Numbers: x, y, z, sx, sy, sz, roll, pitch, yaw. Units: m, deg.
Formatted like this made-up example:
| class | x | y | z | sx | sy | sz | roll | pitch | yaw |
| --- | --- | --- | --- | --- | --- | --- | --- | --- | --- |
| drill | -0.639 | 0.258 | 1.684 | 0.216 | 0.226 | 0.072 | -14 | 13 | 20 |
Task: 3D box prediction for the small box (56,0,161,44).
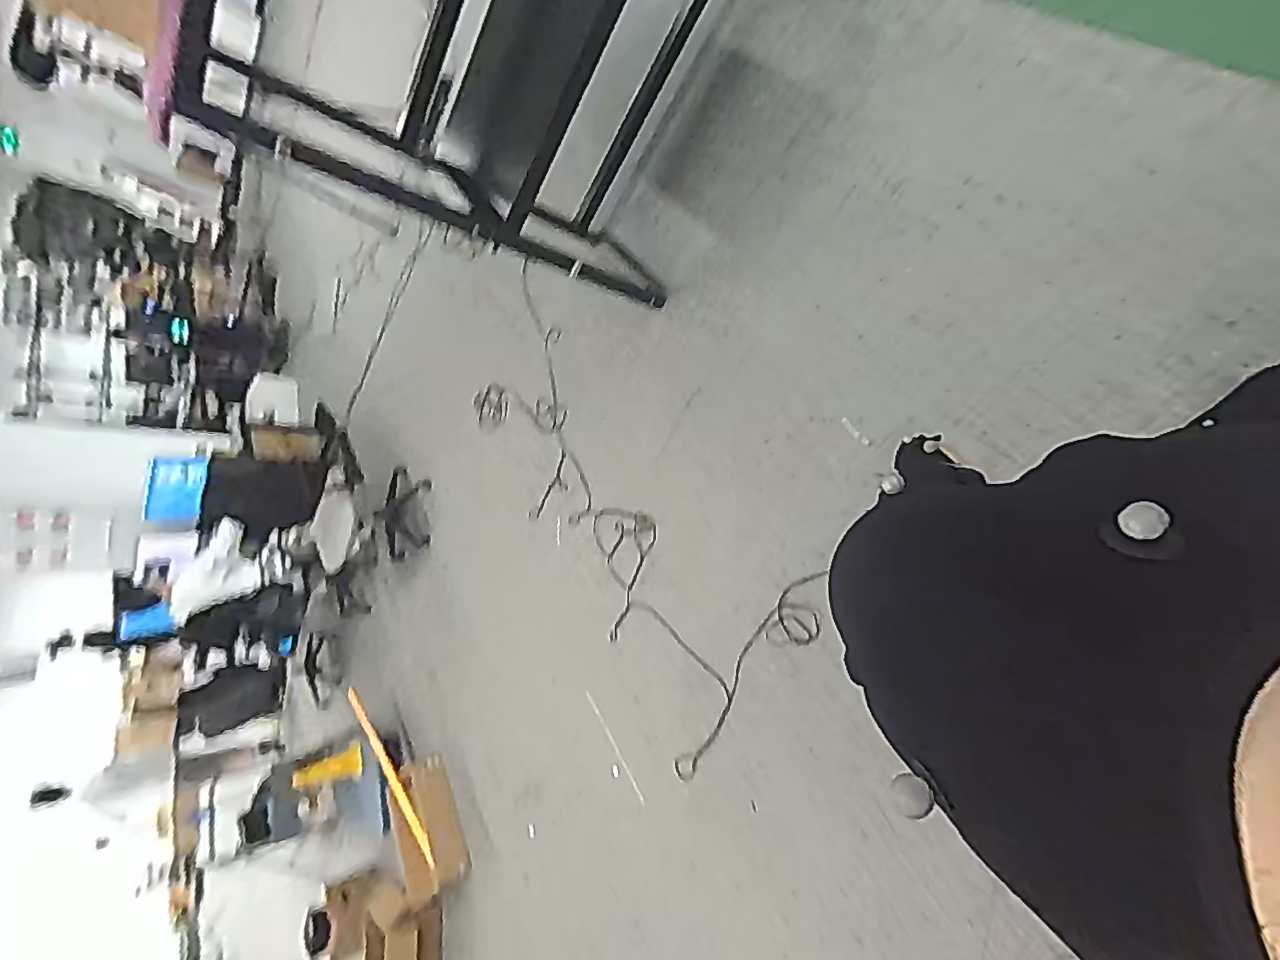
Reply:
| class | x | y | z | sx | sy | sz | roll | pitch | yaw |
| --- | --- | --- | --- | --- | --- | --- | --- | --- | --- |
| small box | -0.959 | -0.925 | 0.957 | 0.168 | 0.176 | 0.179 | 48 | 119 | 33 |
